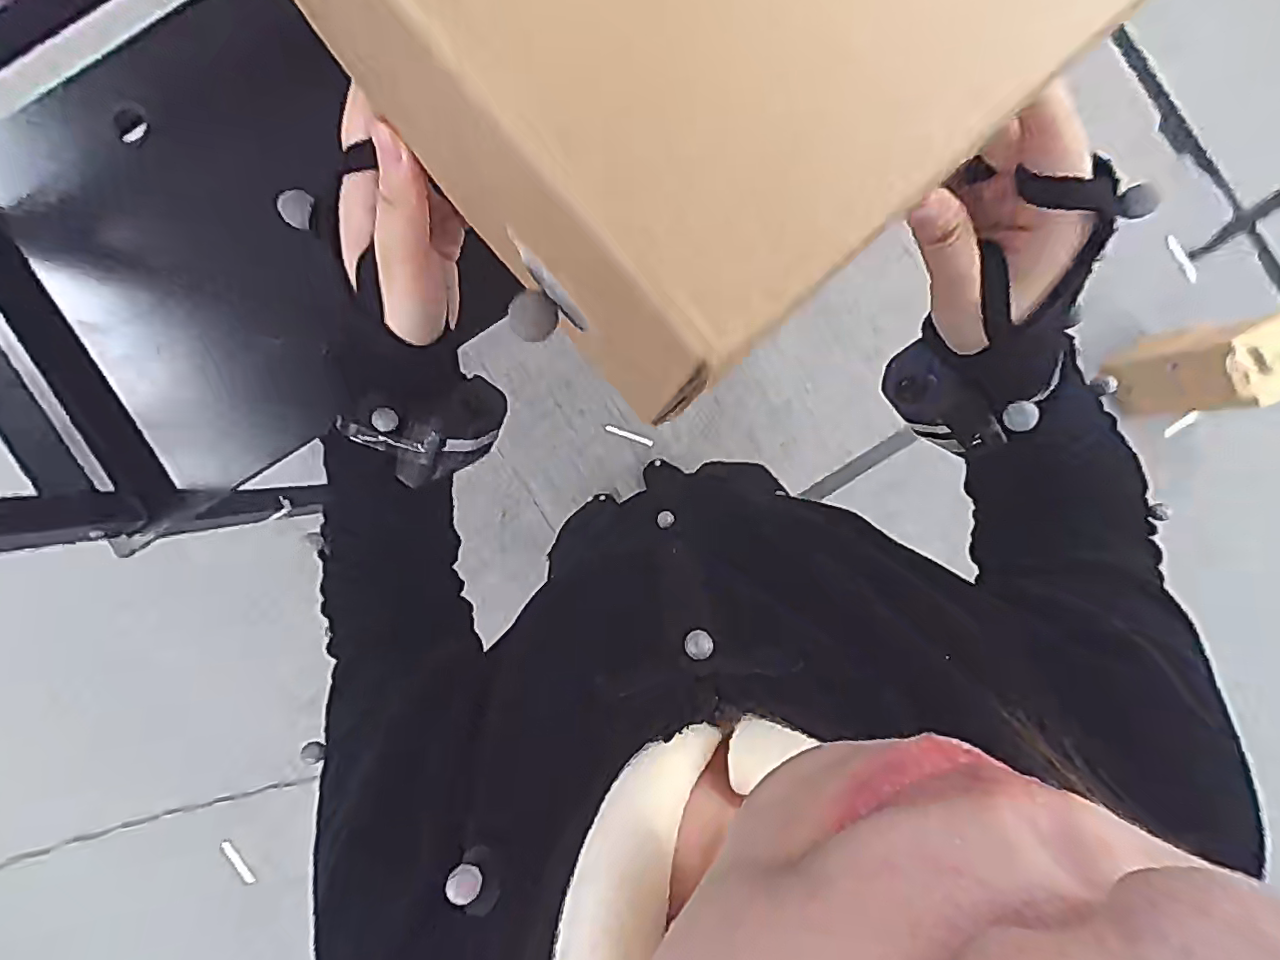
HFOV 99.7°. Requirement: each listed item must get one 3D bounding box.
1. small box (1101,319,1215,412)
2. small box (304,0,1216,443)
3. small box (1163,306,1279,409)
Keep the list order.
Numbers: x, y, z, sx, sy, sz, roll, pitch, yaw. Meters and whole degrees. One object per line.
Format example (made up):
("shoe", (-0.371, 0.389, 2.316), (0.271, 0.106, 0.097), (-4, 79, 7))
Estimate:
("small box", (1.375, -0.289, 1.411), (0.168, 0.176, 0.179), (-32, 93, 0))
("small box", (0.018, -0.129, 0.145), (0.168, 0.179, 0.176), (-41, 93, 0))
("small box", (1.374, -0.276, 1.246), (0.179, 0.176, 0.168), (-27, 92, 0))
